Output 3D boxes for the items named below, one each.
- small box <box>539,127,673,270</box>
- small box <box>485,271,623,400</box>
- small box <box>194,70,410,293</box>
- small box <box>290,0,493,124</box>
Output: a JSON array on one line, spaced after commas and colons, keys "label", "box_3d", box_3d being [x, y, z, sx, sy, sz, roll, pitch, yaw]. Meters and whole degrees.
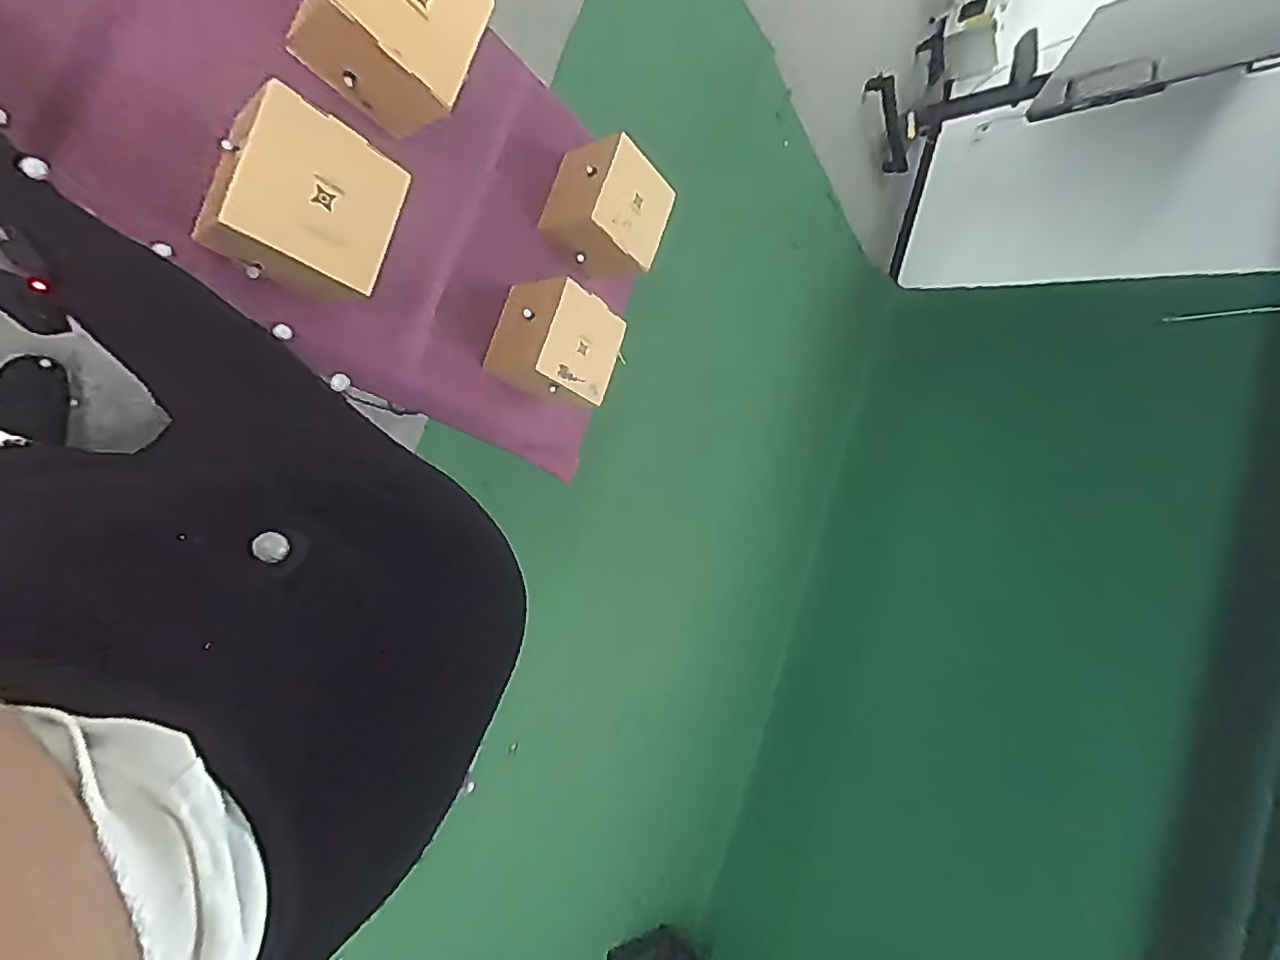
[{"label": "small box", "box_3d": [-0.068, -0.533, 1.050, 0.168, 0.176, 0.179, 26, 82, -47]}, {"label": "small box", "box_3d": [-0.164, -0.266, 1.020, 0.168, 0.176, 0.179, 26, 80, -48]}, {"label": "small box", "box_3d": [-0.433, -0.359, 0.690, 0.168, 0.176, 0.179, 22, 83, -49]}, {"label": "small box", "box_3d": [-0.334, -0.628, 0.727, 0.168, 0.176, 0.179, 25, 83, -50]}]
